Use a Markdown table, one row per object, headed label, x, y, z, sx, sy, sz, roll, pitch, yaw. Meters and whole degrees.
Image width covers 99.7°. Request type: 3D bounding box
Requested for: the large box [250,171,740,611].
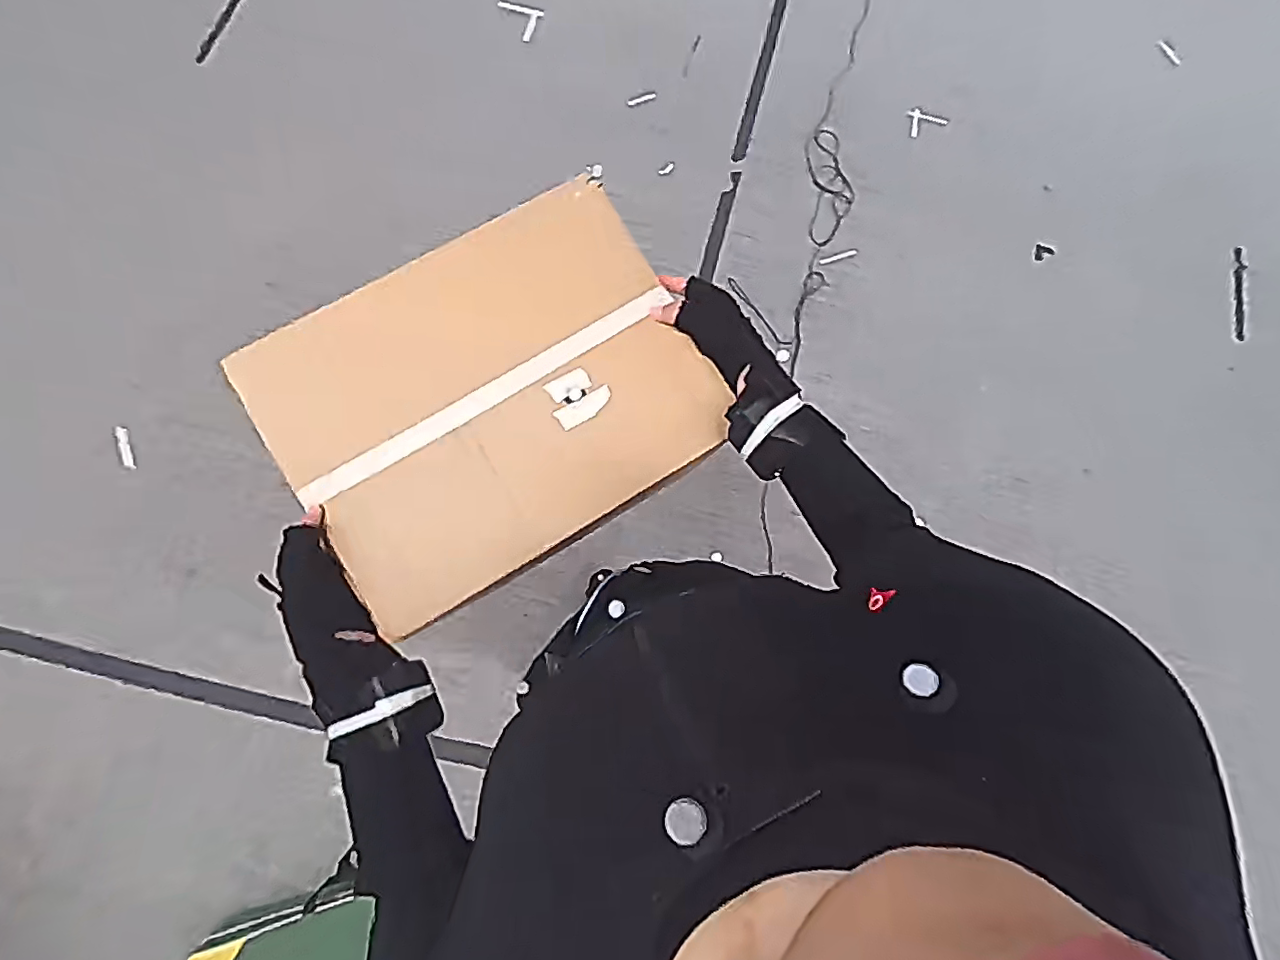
| label | x | y | z | sx | sy | sz | roll | pitch | yaw |
| --- | --- | --- | --- | --- | --- | --- | --- | --- | --- |
| large box | -0.152 | -0.085 | 0.689 | 0.408 | 0.320 | 0.320 | -30 | 88 | -8 |
